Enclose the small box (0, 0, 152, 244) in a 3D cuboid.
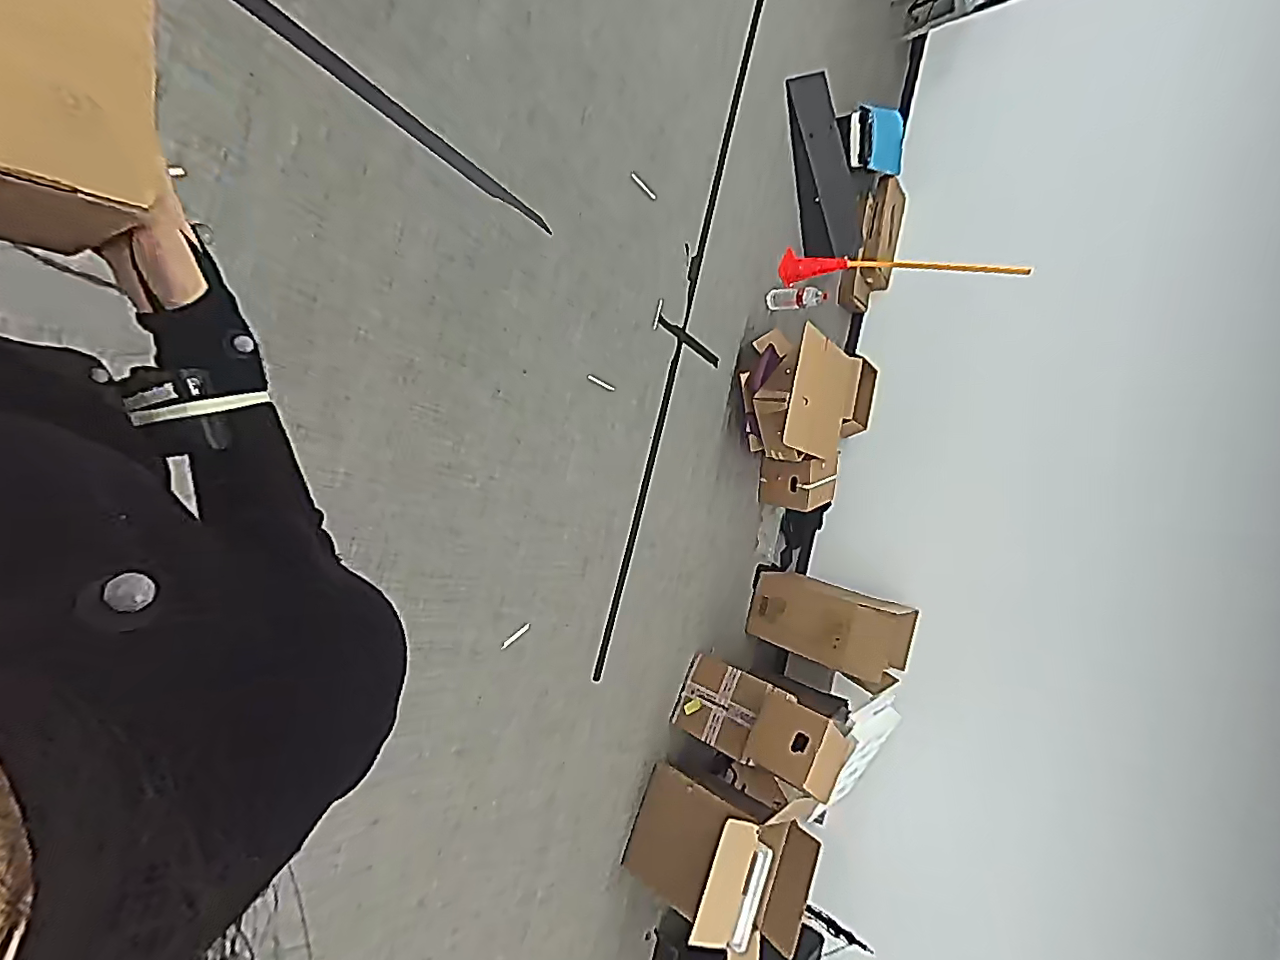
[{"bbox_3d":[-0.377,-0.236,0.270,0.168,0.176,0.179,-3,99,-57],"label":"small box"}]
